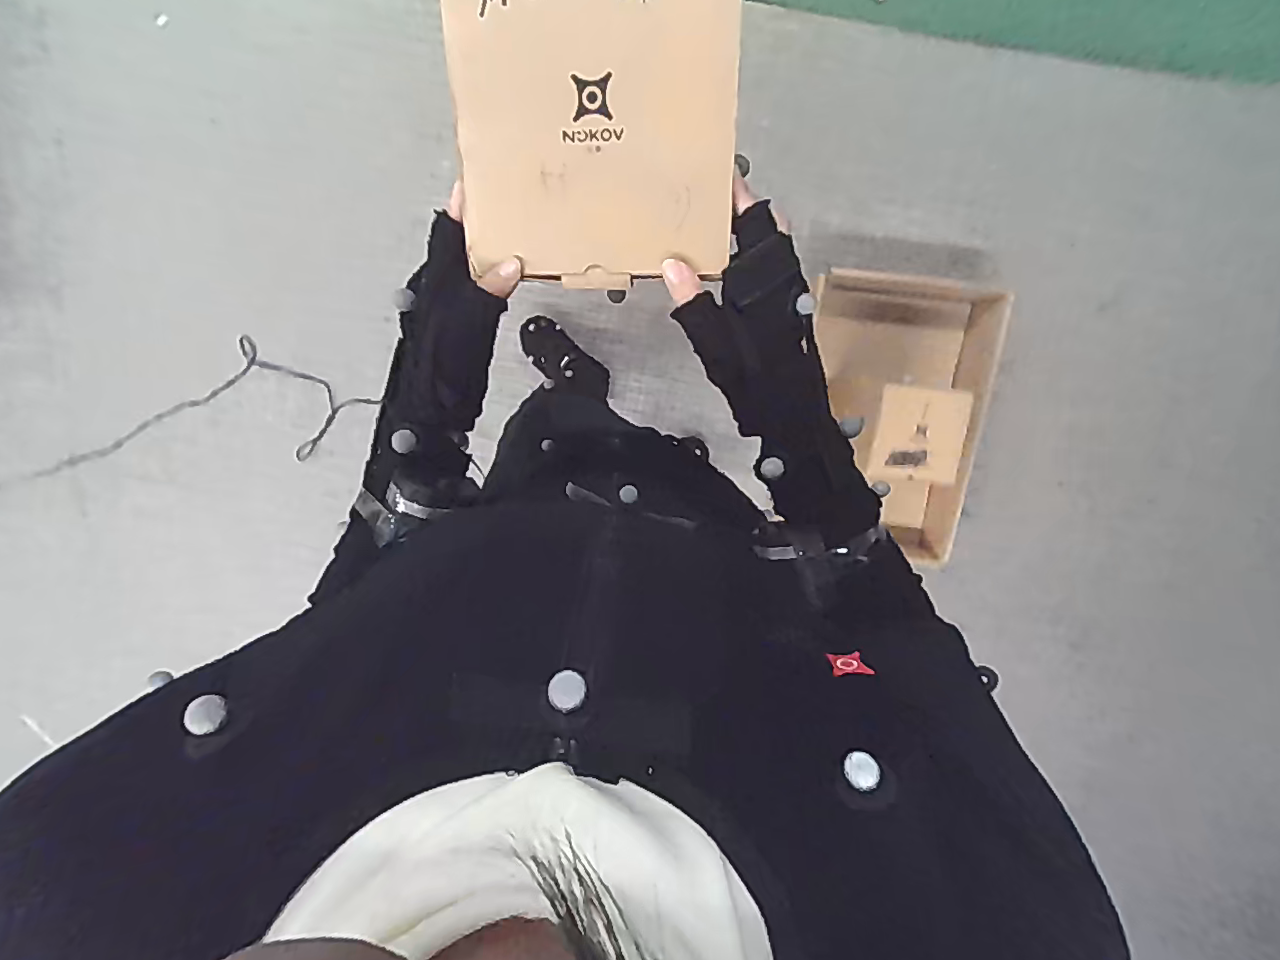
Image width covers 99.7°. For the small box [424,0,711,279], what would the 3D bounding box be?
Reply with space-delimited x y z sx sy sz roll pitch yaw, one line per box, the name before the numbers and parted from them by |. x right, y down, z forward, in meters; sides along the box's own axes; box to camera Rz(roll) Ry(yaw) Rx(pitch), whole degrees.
small box | -0.032 -0.250 0.405 0.168 0.176 0.179 0 111 9

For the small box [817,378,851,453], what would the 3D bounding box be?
small box | 0.526 -0.144 1.250 0.179 0.176 0.168 6 104 0

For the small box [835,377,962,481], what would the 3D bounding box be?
small box | 0.514 -0.110 1.106 0.168 0.176 0.179 8 103 0
